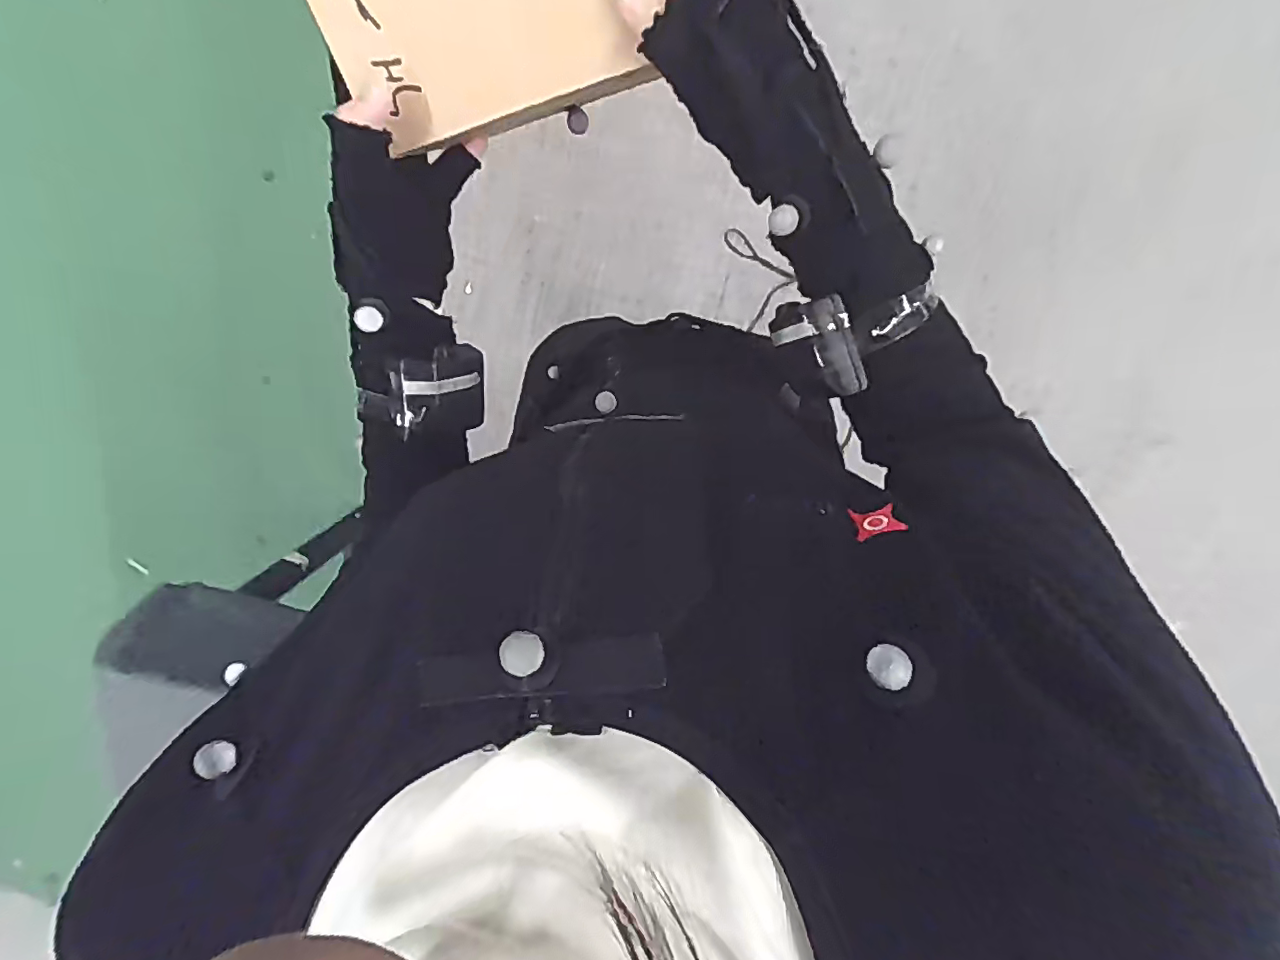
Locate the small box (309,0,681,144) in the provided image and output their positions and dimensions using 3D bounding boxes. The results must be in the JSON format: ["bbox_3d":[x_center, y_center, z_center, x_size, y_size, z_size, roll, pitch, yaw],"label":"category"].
[{"bbox_3d":[-0.075,-0.308,0.301,0.179,0.176,0.168,-8,123,13],"label":"small box"}]
